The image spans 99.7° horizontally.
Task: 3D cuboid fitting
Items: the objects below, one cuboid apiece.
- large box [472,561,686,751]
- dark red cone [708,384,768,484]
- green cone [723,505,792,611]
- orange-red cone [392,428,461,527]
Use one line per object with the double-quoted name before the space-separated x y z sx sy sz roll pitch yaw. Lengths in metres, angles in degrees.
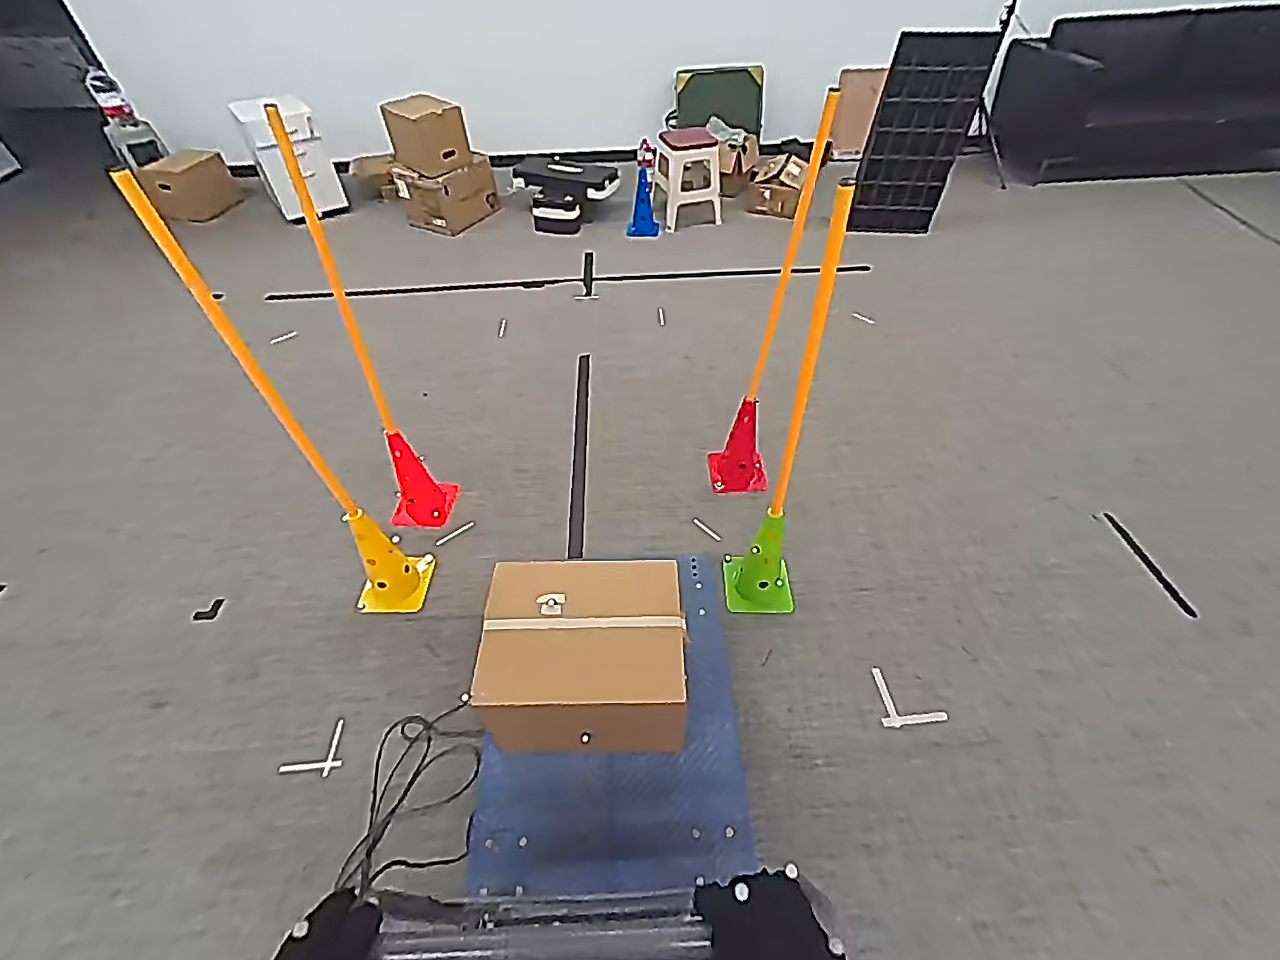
"large box" -0.111 0.400 1.211 0.408 0.320 0.320 -1 48 1
"dark red cone" 0.363 -0.165 1.886 0.201 0.394 0.202 -2 48 -3
"green cone" 0.366 0.205 1.571 0.202 0.368 0.200 1 48 1
"orange-red cone" -0.762 -0.031 1.820 0.198 0.360 0.199 3 46 3
